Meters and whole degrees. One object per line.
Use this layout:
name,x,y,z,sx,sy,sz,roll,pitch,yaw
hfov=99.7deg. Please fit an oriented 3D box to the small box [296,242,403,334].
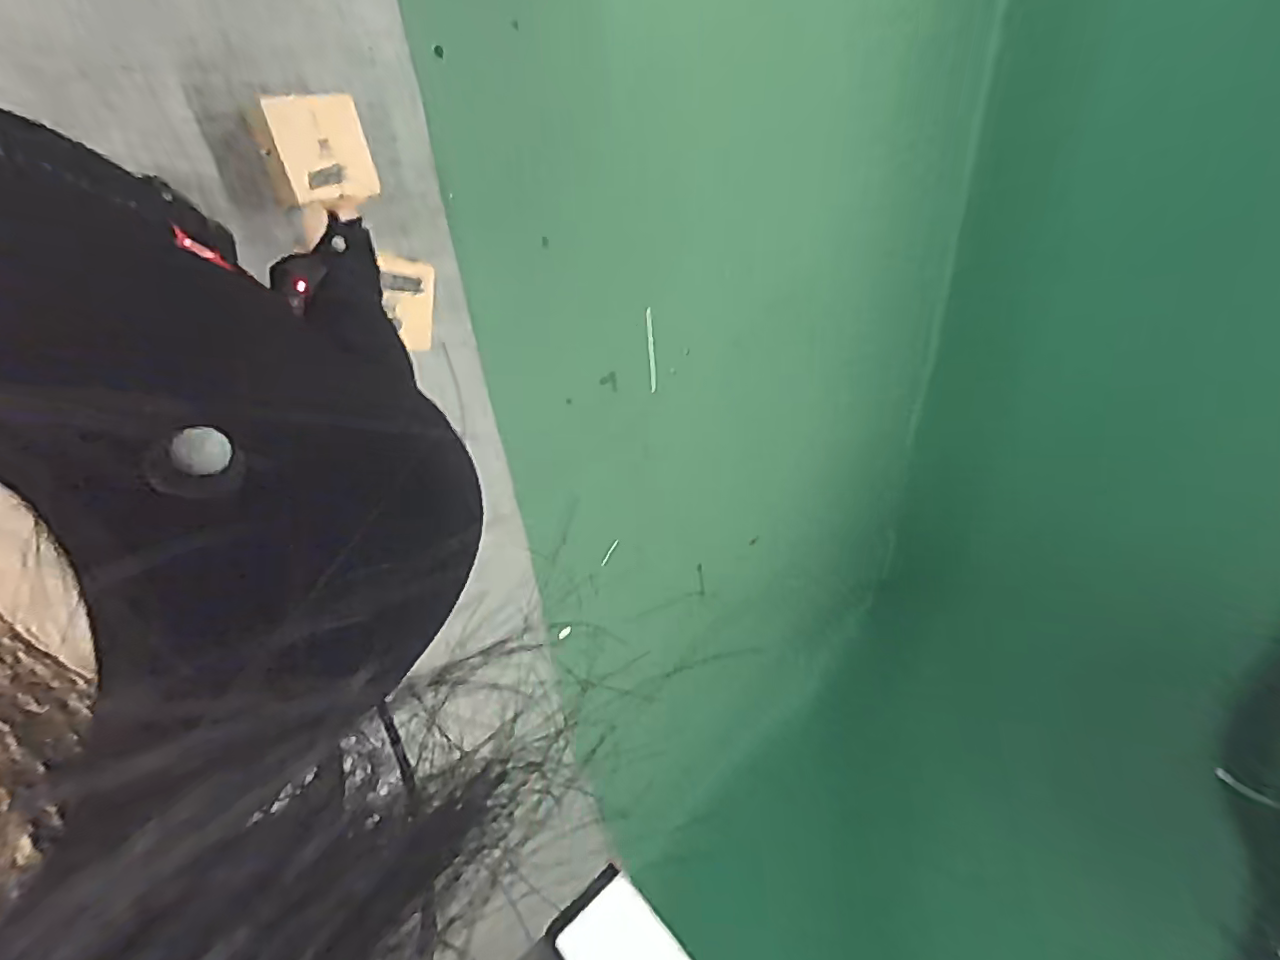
small box,-0.657,-0.438,1.225,0.168,0.176,0.179,-18,122,-37

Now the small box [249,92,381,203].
small box,-0.661,-0.673,1.102,0.168,0.176,0.179,-28,127,-31
